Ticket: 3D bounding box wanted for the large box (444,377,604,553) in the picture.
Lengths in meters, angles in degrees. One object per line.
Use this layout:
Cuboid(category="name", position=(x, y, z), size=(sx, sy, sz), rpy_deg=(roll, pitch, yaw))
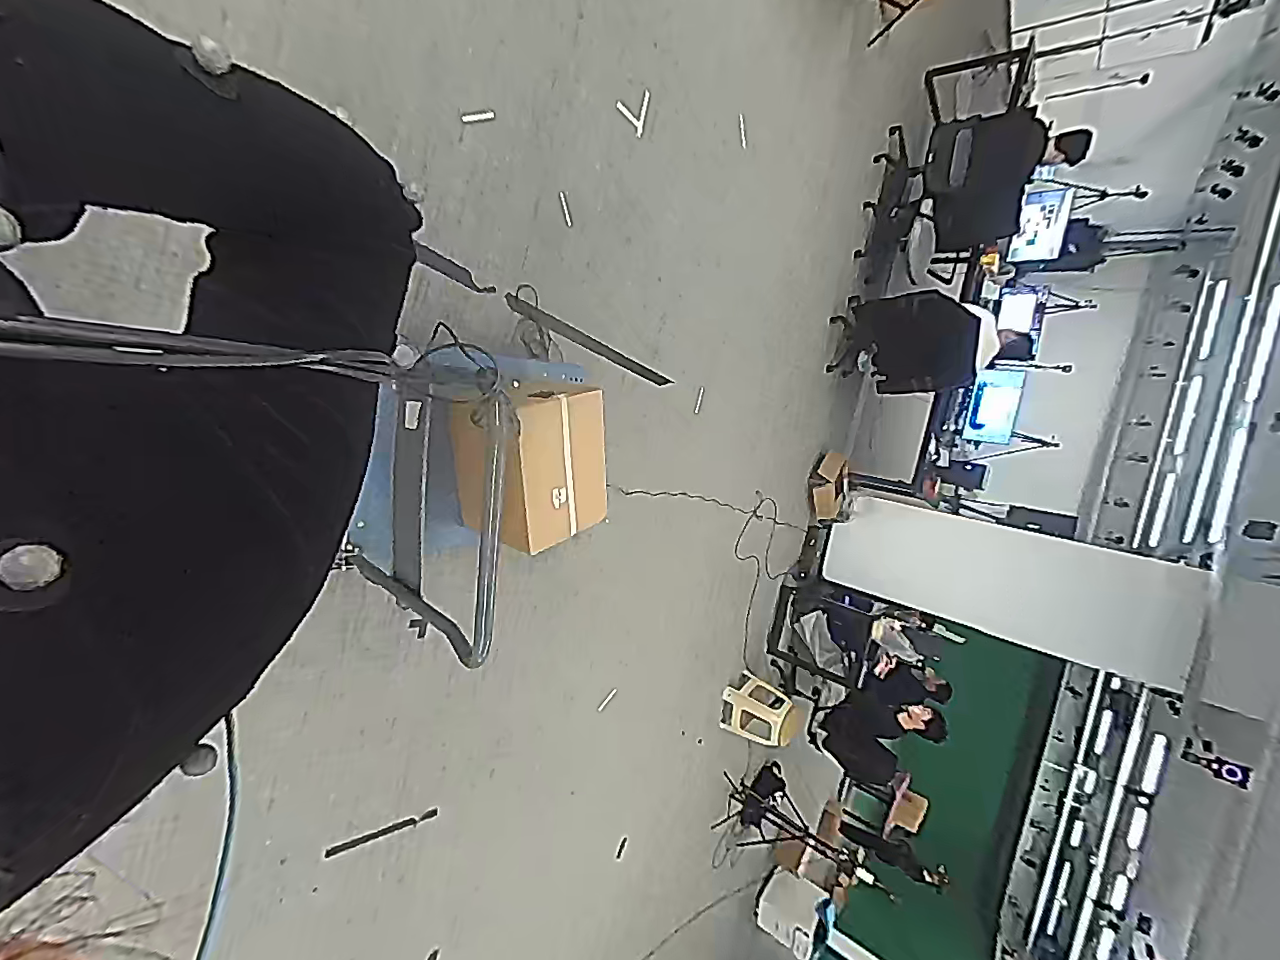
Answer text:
Cuboid(category="large box", position=(-0.325, -0.063, 1.561), size=(0.320, 0.320, 0.408), rpy_deg=(-23, 120, -46))
